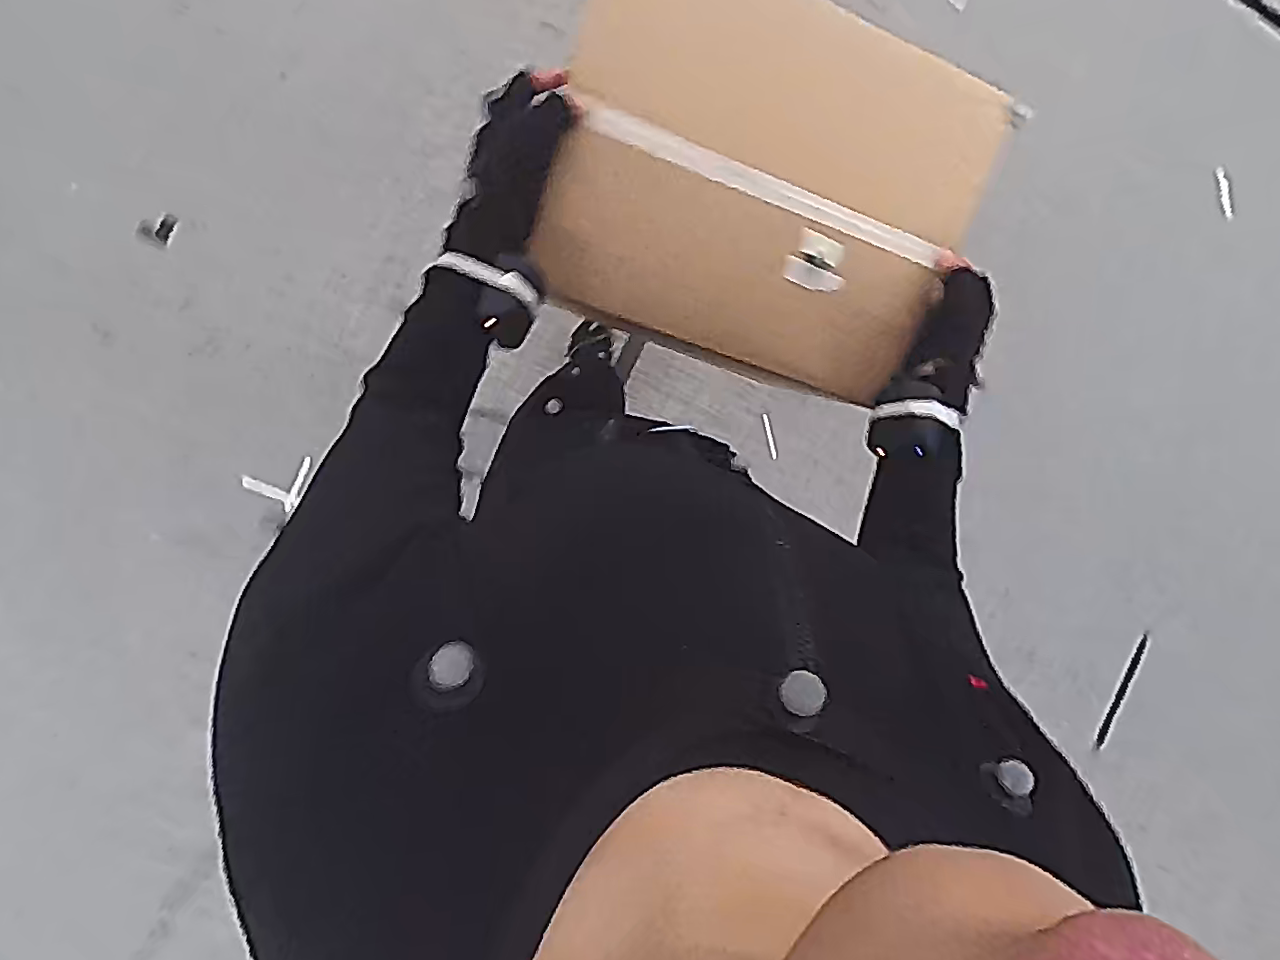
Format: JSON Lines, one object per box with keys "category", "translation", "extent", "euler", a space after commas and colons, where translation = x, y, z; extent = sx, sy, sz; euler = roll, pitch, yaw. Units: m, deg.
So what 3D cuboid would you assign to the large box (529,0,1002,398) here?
{"category": "large box", "translation": [0.105, -0.322, 0.667], "extent": [0.408, 0.320, 0.320], "euler": [17, 104, -12]}
